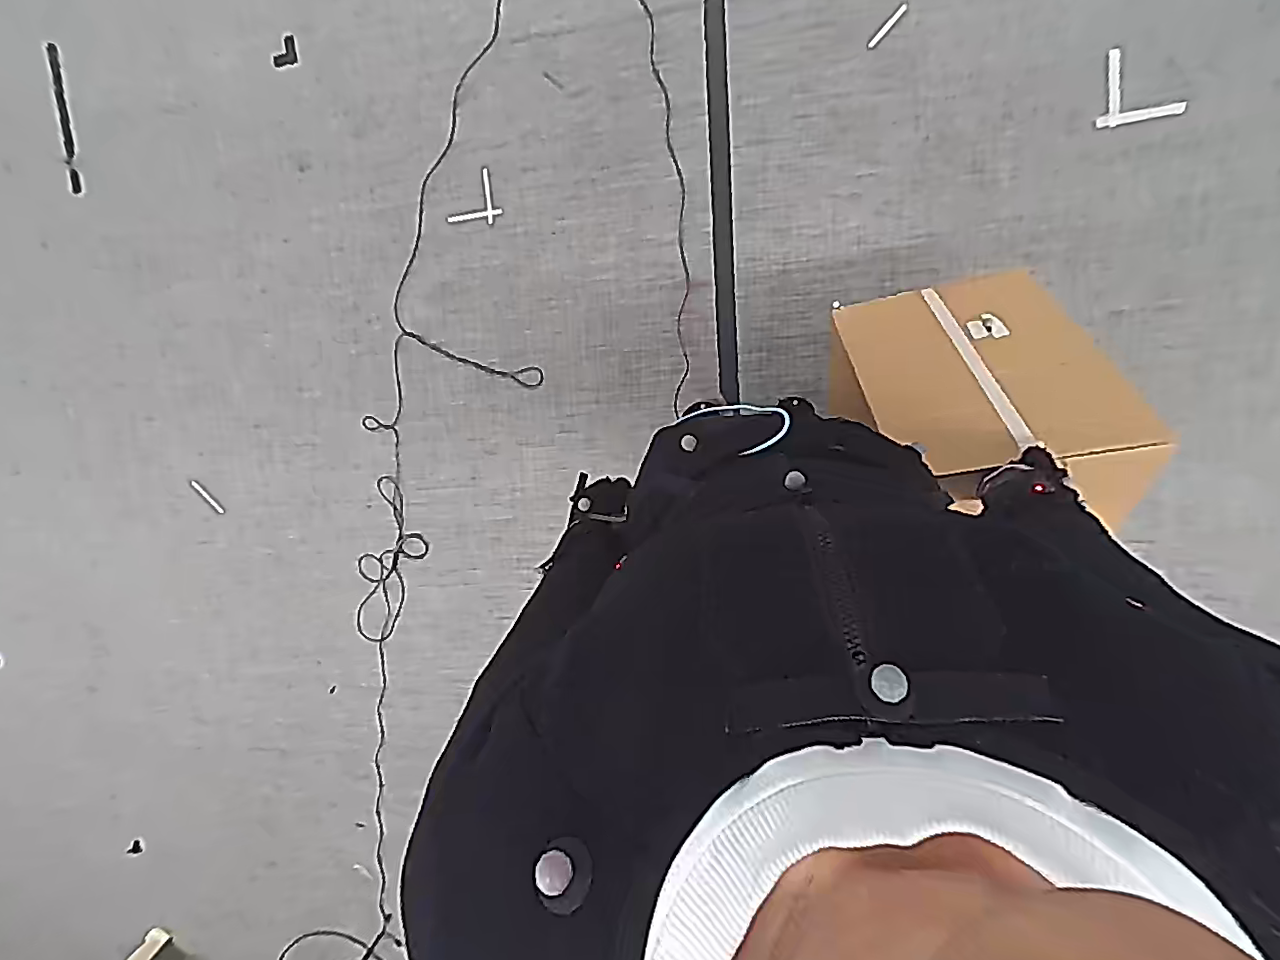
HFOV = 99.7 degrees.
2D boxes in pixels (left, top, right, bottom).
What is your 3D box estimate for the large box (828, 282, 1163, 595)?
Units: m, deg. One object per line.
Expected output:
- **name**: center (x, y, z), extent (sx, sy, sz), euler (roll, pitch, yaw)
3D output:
- **large box**: center (0.526, -0.069, 0.920), extent (0.320, 0.408, 0.320), euler (-9, 137, 10)
